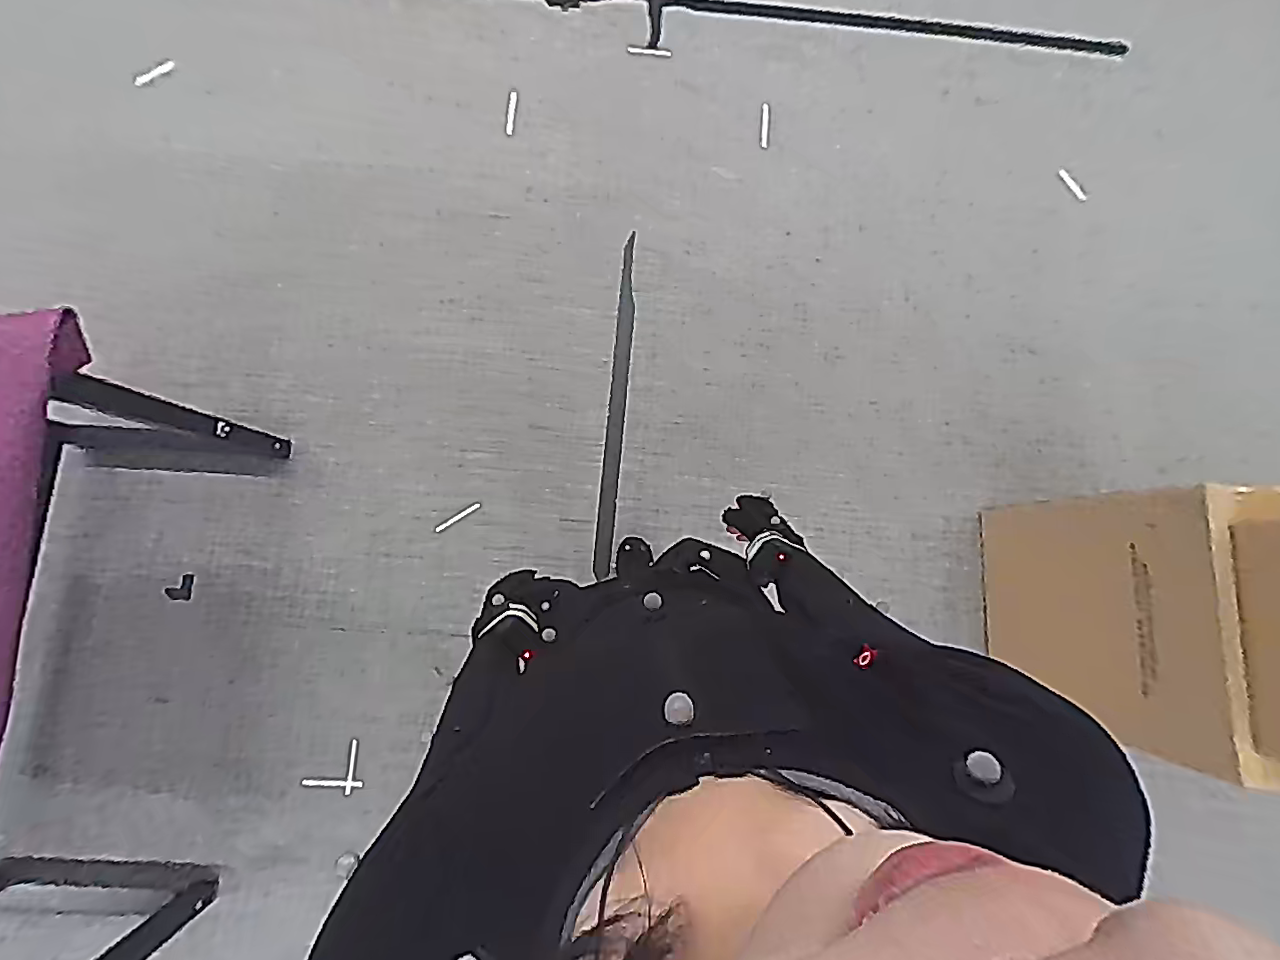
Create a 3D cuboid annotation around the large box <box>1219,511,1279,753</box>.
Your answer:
[{"bbox_3d":[1.202,0.242,0.815,0.320,0.320,0.408,2,83,-2],"label":"large box"}]
